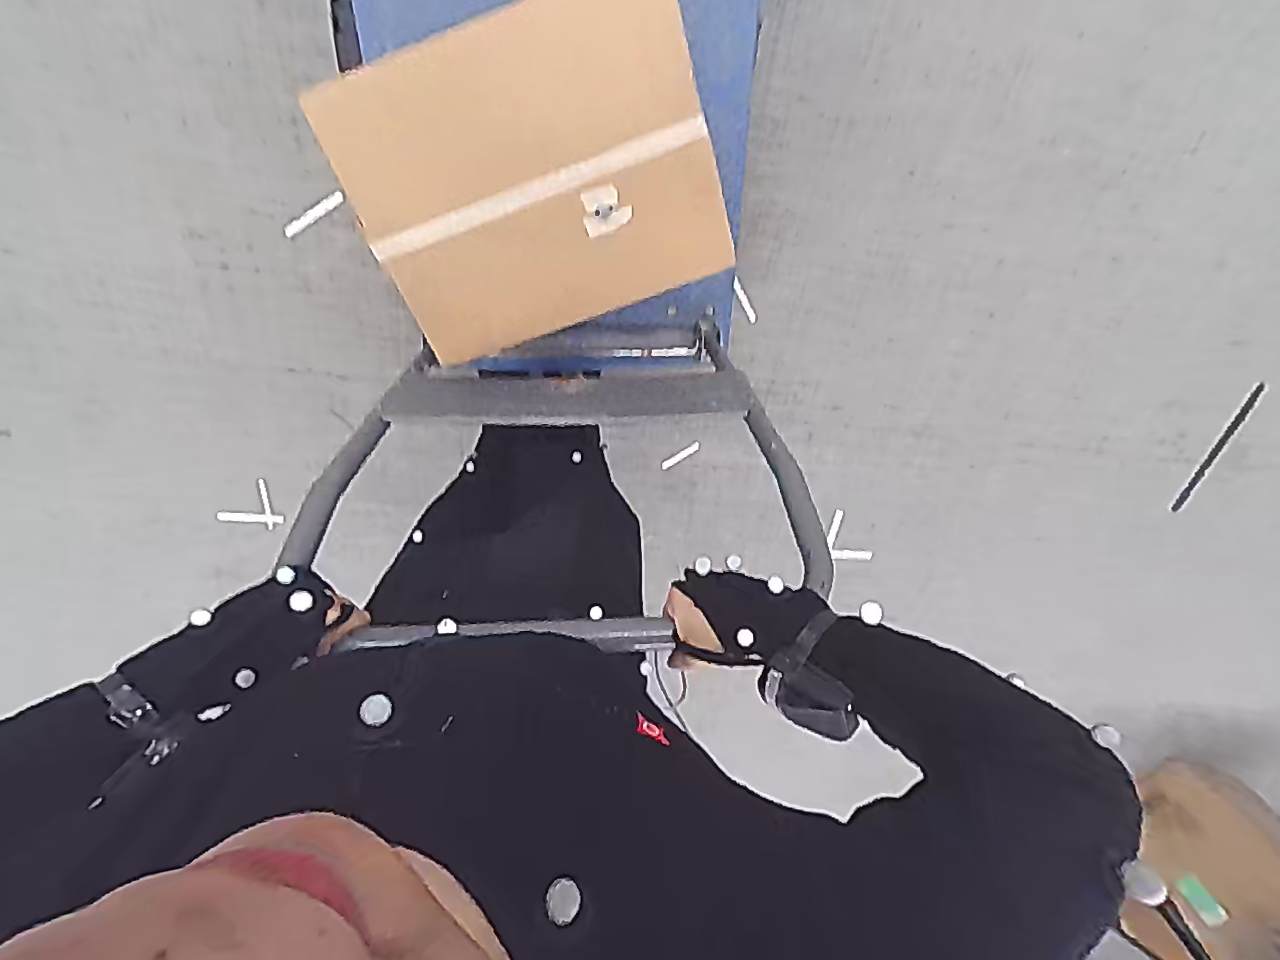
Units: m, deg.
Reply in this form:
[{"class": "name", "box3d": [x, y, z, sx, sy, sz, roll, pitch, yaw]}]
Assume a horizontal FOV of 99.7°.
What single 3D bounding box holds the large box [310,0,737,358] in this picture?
[{"class": "large box", "box3d": [-0.127, -0.418, 0.745, 0.408, 0.320, 0.320, -19, 121, 5]}]
